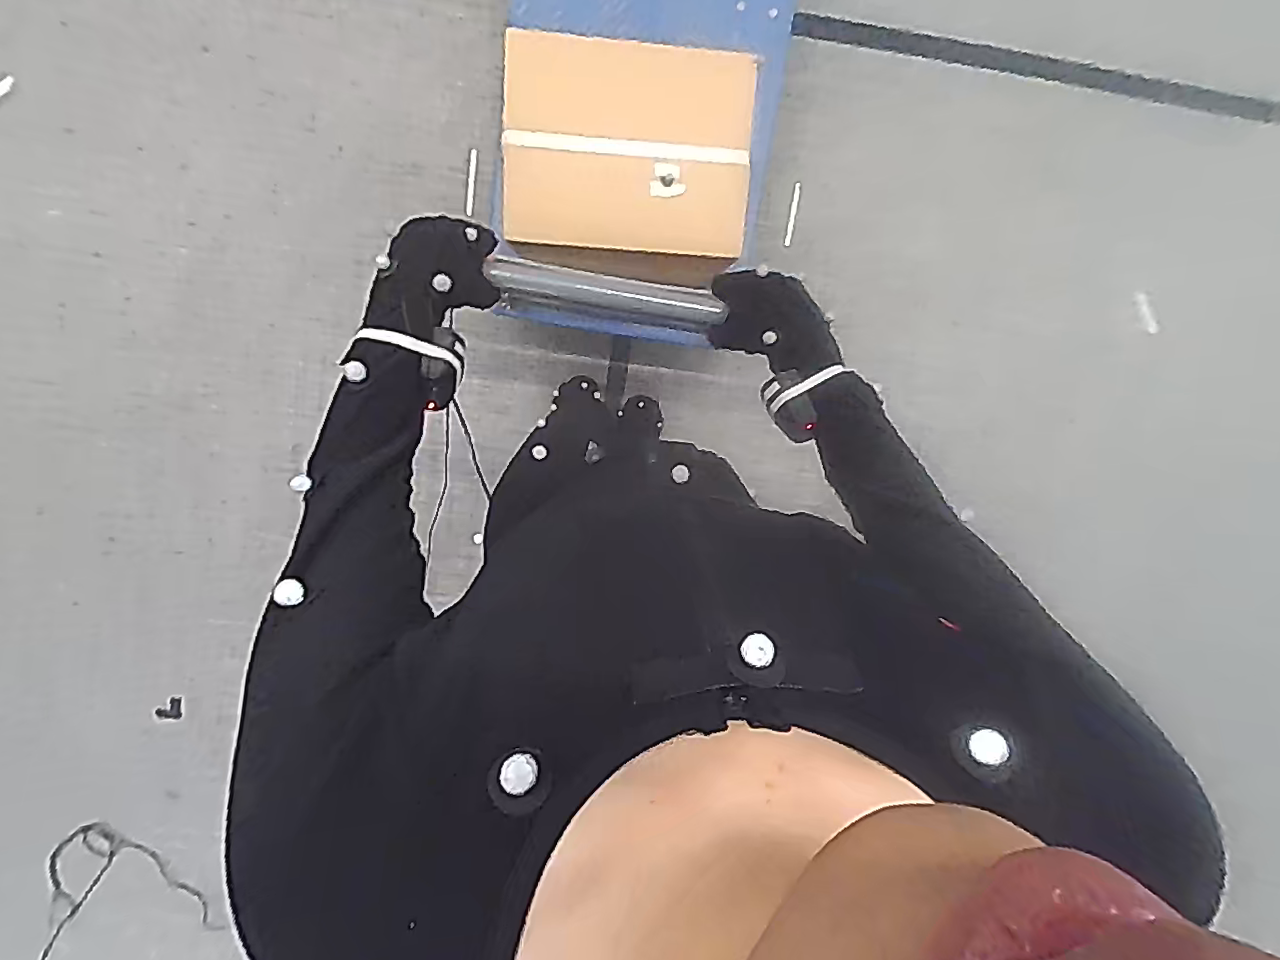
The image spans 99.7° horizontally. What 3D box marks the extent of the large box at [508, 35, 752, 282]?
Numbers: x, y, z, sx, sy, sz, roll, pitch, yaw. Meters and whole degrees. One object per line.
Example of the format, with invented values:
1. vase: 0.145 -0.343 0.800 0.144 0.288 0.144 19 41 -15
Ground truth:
1. large box: -0.031 -0.580 1.047 0.408 0.320 0.320 2 101 -5
